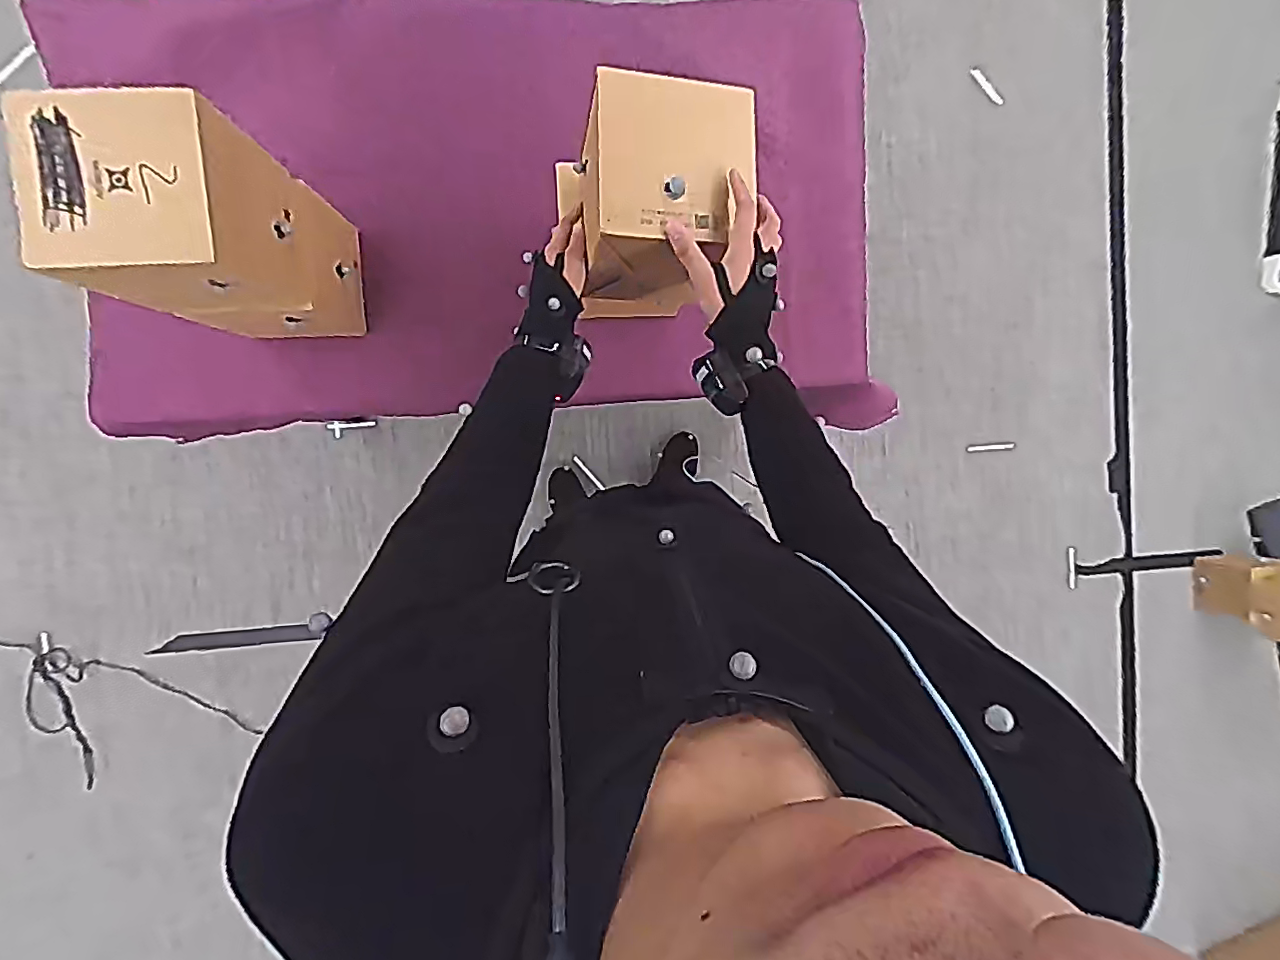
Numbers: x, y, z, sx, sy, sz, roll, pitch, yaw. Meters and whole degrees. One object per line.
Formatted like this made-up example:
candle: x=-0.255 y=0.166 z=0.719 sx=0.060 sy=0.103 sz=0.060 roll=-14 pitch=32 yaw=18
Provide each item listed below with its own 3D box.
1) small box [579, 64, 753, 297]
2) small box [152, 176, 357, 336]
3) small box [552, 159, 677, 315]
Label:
small box: x=0.018 y=-0.314 z=0.613 sx=0.168 sy=0.179 sz=0.176 roll=-1 pitch=90 yaw=-12
small box: x=-0.516 y=-0.300 z=0.755 sx=0.179 sy=0.176 sz=0.168 roll=-2 pitch=94 yaw=-5
small box: x=-0.030 y=-0.343 z=0.792 sx=0.179 sy=0.176 sz=0.168 roll=-3 pitch=94 yaw=-5
